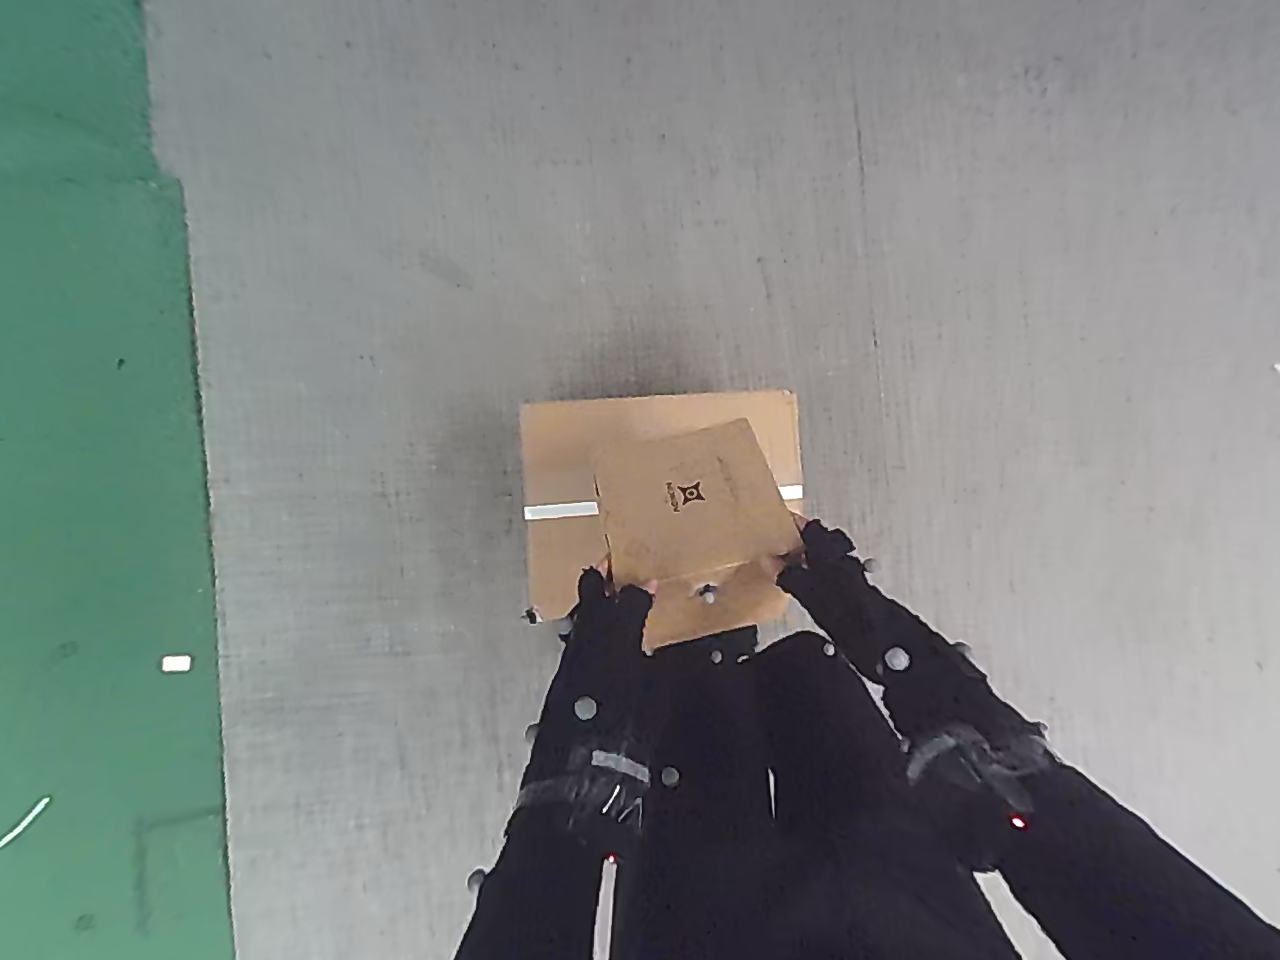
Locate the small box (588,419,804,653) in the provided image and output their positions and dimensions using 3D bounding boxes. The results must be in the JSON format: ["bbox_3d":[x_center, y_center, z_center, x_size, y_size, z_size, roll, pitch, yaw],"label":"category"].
[{"bbox_3d":[0.055,0.066,0.581,0.179,0.176,0.168,-14,53,-3],"label":"small box"}]
